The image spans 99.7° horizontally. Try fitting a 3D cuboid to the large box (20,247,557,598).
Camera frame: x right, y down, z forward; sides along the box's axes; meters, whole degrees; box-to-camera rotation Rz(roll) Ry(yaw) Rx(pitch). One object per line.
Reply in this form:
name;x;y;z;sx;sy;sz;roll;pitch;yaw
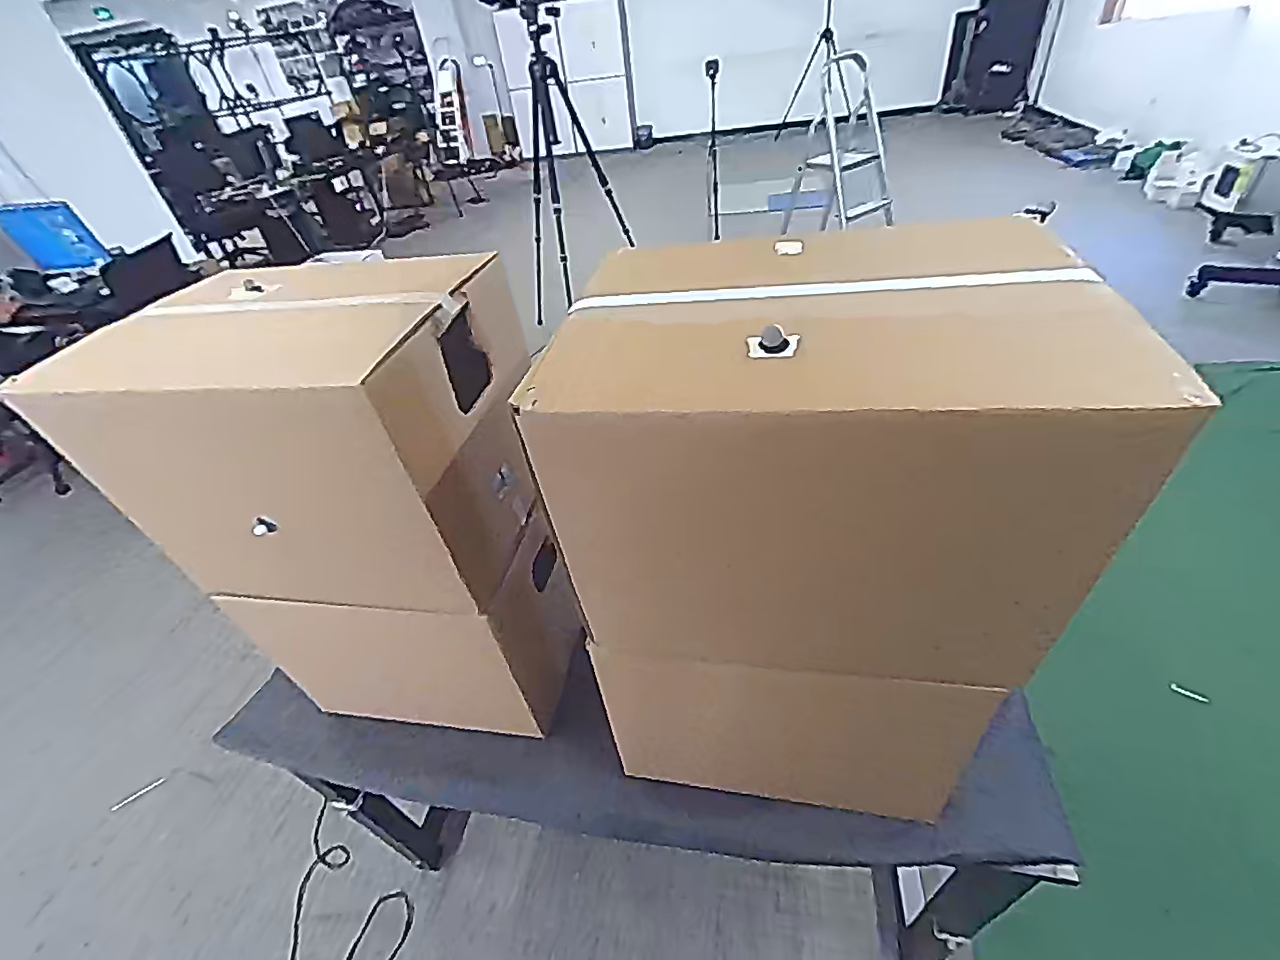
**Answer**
large box;-0.362;-0.070;0.686;0.408;0.320;0.320;1;41;13
